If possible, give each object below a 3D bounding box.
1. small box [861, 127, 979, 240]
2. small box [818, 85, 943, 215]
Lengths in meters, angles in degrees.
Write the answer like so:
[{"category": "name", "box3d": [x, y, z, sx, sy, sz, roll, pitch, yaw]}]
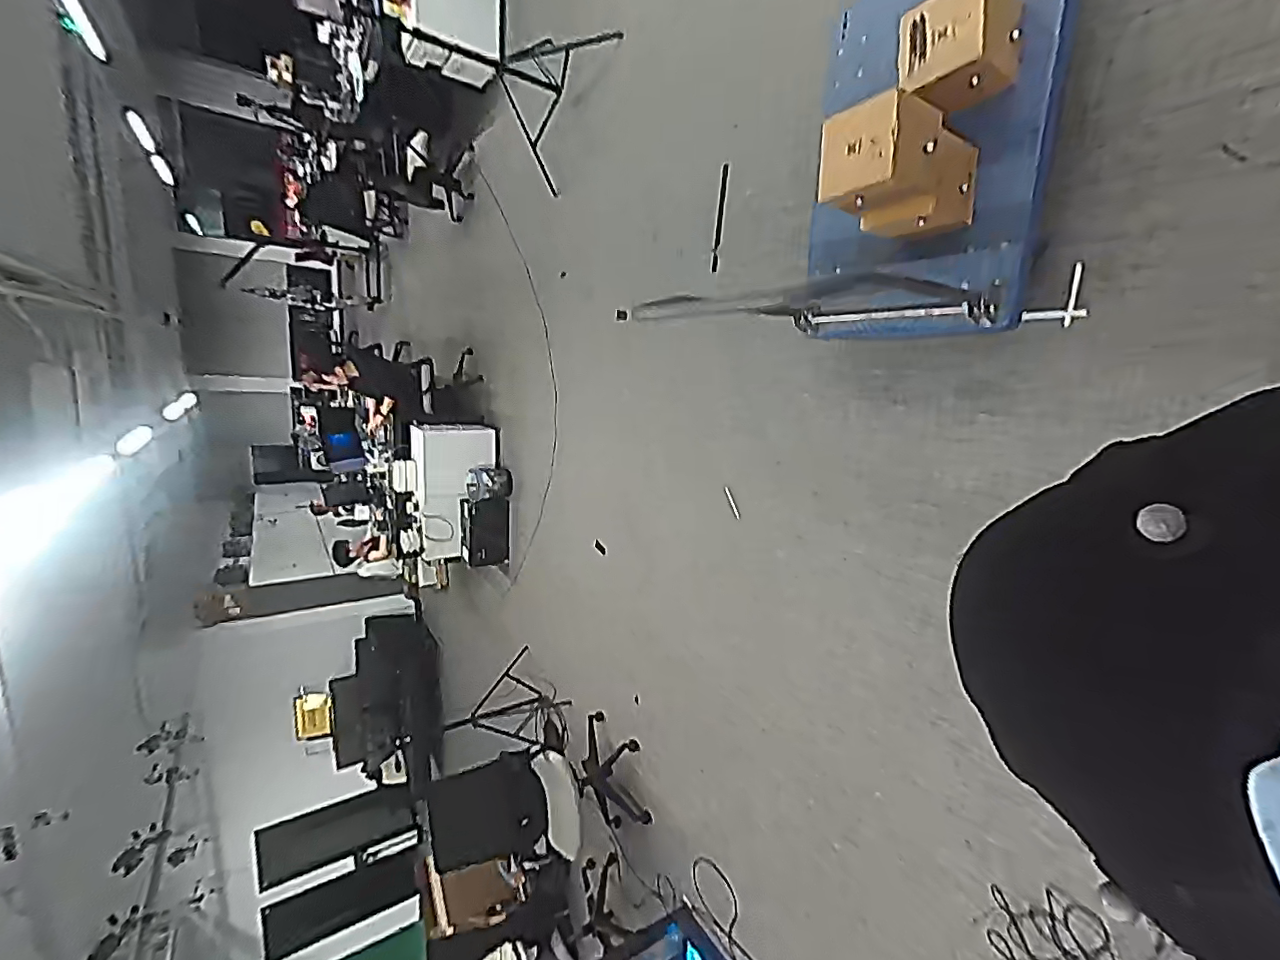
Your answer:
[{"category": "small box", "box3d": [0.640, -0.667, 1.242, 0.179, 0.176, 0.168, 12, 103, 54]}, {"category": "small box", "box3d": [0.506, -0.682, 1.145, 0.179, 0.176, 0.168, 13, 104, 54]}]
